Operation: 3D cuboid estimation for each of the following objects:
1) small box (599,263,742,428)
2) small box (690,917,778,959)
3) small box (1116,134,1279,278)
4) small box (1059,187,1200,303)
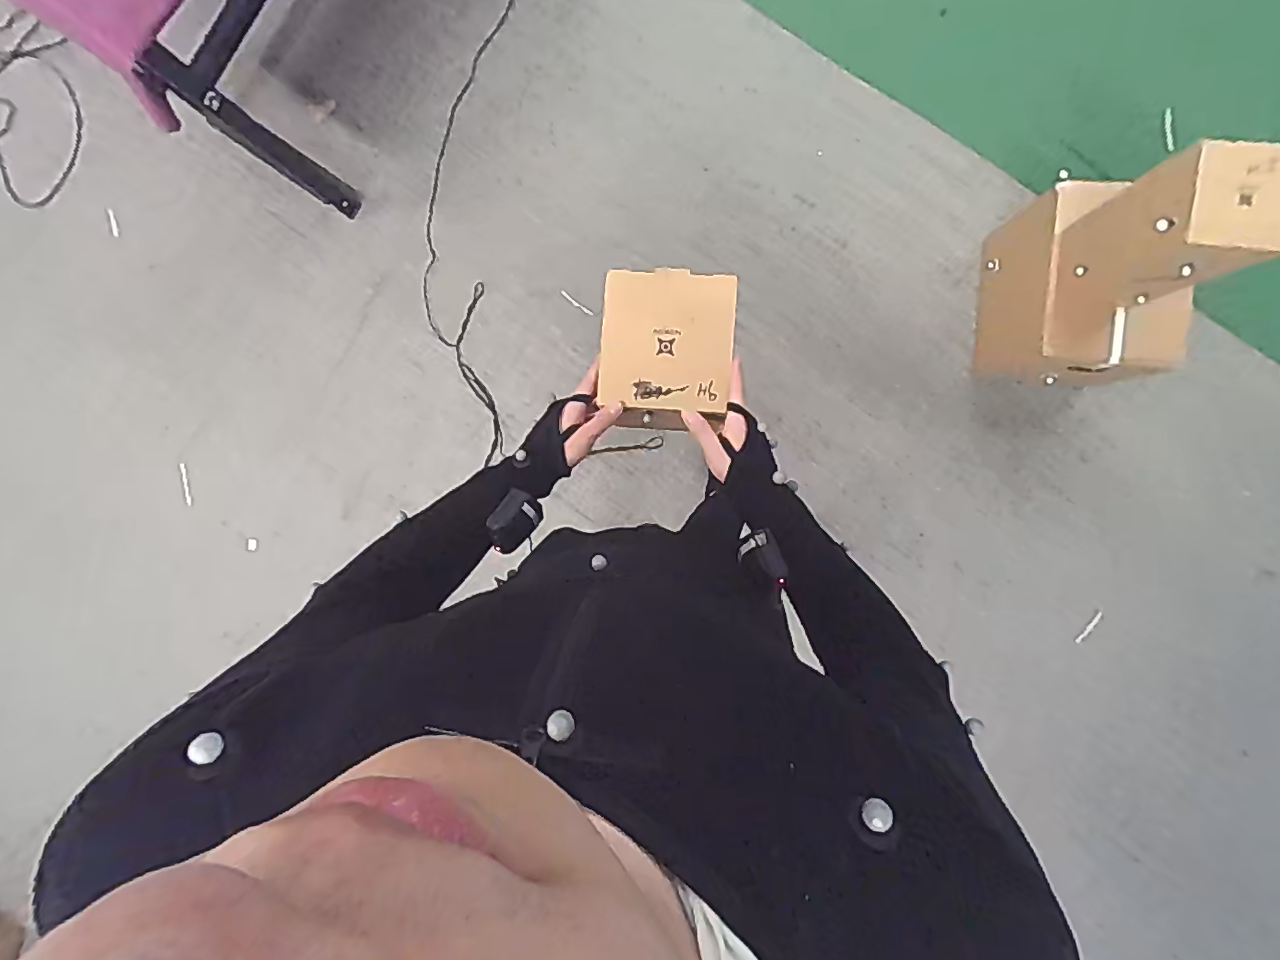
[{"bbox_3d":[0.041,-0.173,0.741,0.168,0.176,0.179,4,89,4],"label":"small box"},{"bbox_3d":[0.203,1.039,1.089,0.179,0.176,0.168,-18,89,4],"label":"small box"},{"bbox_3d":[1.008,-0.478,0.968,0.168,0.176,0.179,7,92,4],"label":"small box"},{"bbox_3d":[1.023,-0.483,1.132,0.168,0.176,0.179,5,92,5],"label":"small box"}]
